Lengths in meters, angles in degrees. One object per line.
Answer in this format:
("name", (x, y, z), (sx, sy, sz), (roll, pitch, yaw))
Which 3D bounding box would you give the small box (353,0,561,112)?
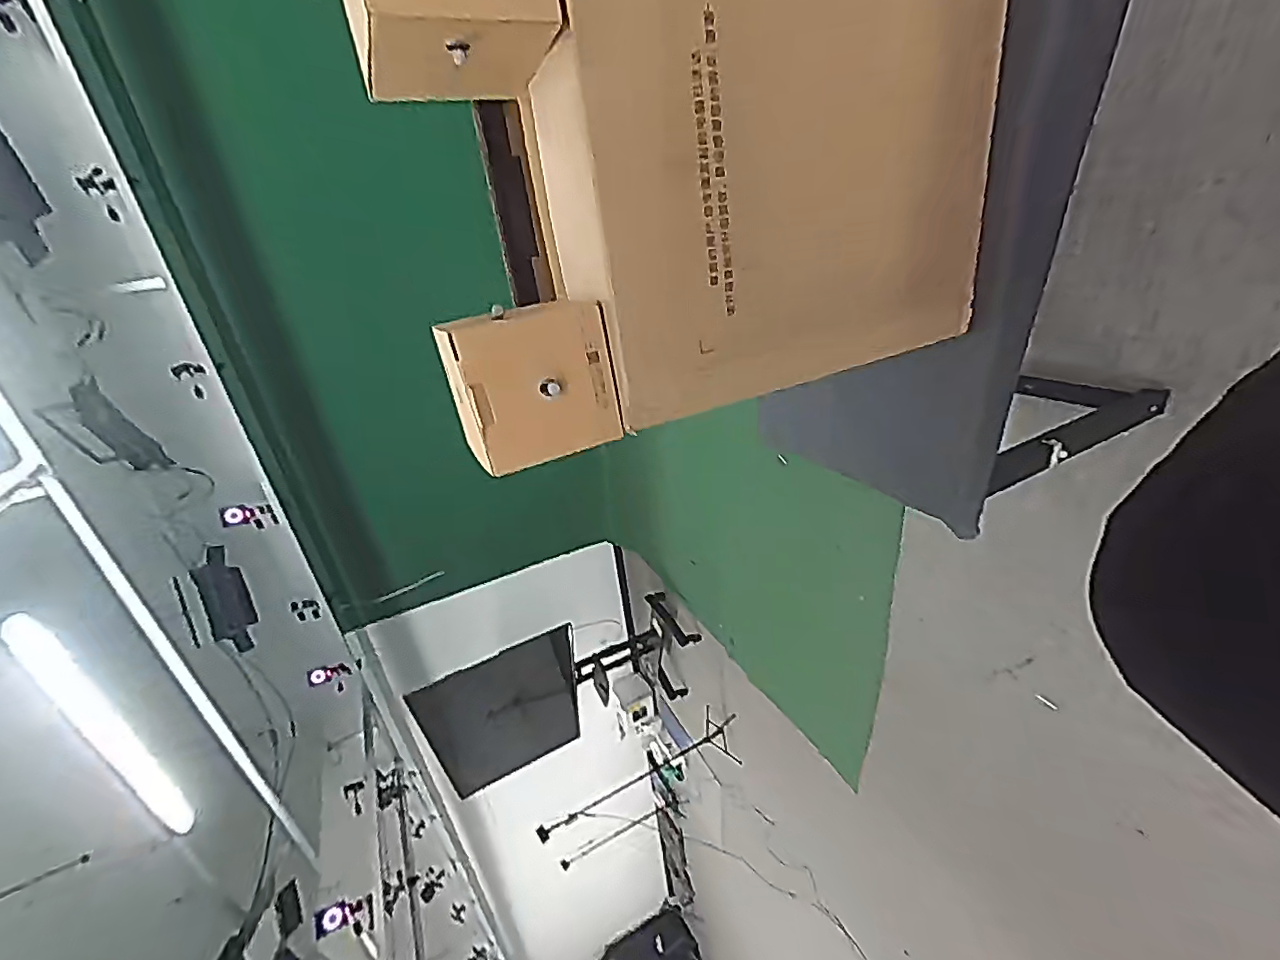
("small box", (-0.182, -0.479, 0.517), (0.179, 0.176, 0.168), (-153, 51, -63))

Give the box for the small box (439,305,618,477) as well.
("small box", (-0.136, -0.124, 0.688), (0.179, 0.176, 0.168), (31, 136, 59))
